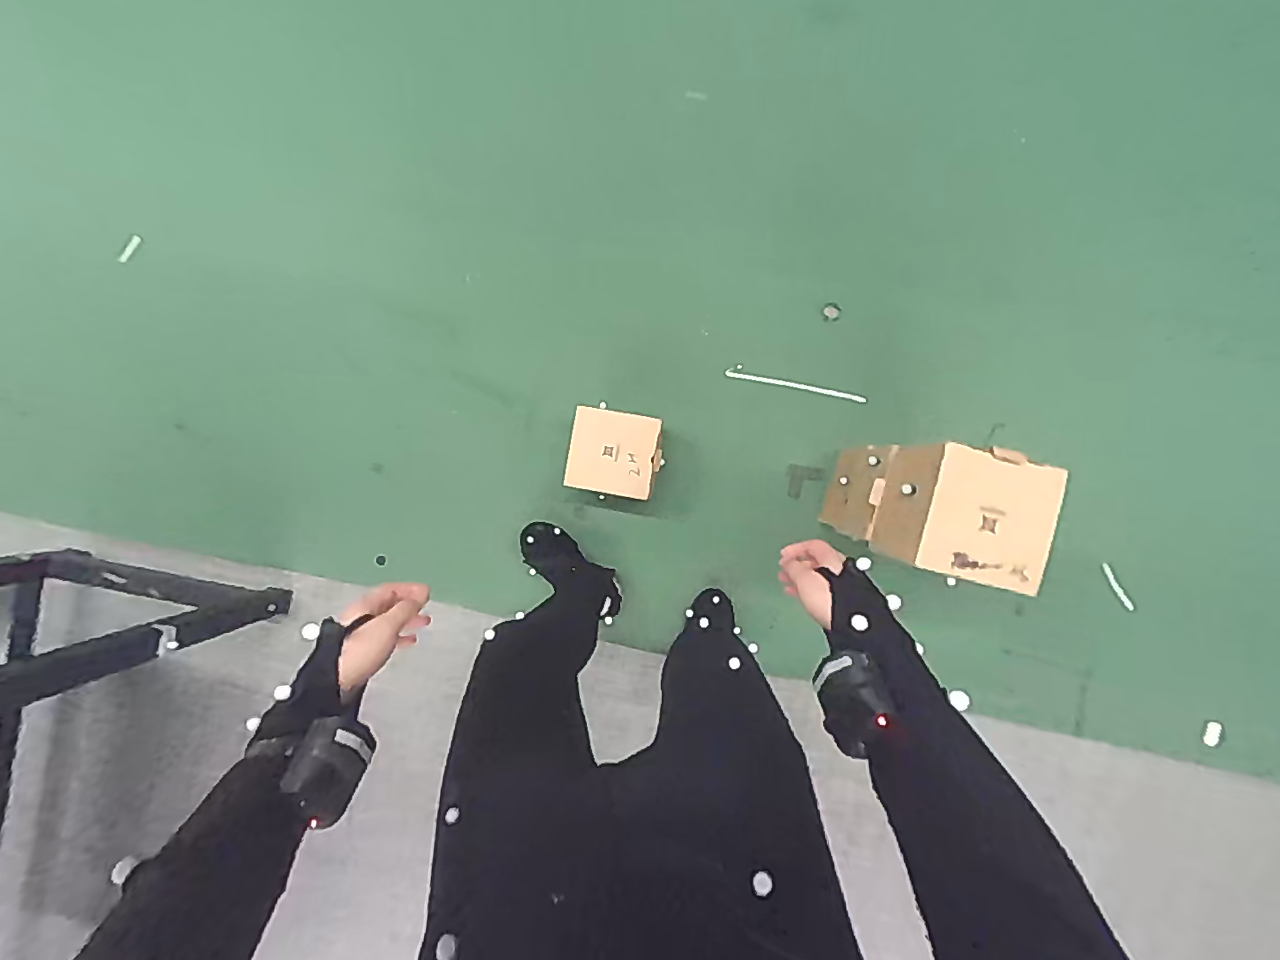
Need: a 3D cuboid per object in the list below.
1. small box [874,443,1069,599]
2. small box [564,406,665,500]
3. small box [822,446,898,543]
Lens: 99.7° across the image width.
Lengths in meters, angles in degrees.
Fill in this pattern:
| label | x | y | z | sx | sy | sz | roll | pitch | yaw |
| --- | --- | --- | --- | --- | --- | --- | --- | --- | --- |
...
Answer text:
| label | x | y | z | sx | sy | sz | roll | pitch | yaw |
| --- | --- | --- | --- | --- | --- | --- | --- | --- | --- |
| small box | 0.473 | 0.054 | 0.799 | 0.168 | 0.176 | 0.179 | 15 | 91 | 1 |
| small box | -0.047 | -0.055 | 1.150 | 0.179 | 0.176 | 0.168 | 10 | 92 | 3 |
| small box | 0.497 | 0.040 | 1.127 | 0.168 | 0.176 | 0.179 | 19 | 92 | 2 |
